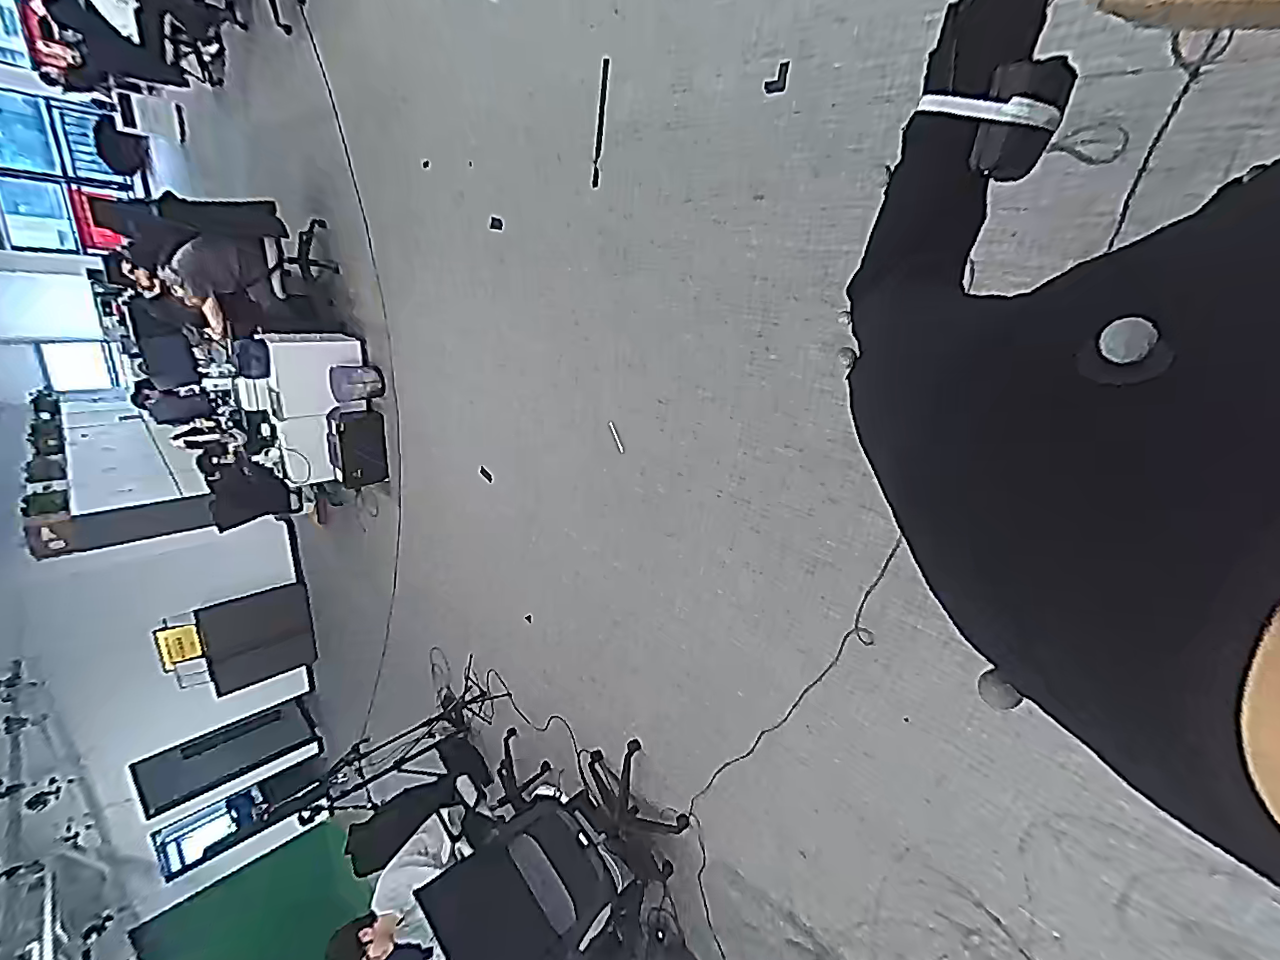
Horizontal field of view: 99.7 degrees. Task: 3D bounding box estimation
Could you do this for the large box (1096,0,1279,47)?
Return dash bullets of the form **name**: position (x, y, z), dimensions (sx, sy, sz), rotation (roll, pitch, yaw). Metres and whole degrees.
- **large box**: position (0.515, -0.392, 0.228), dimensions (0.408, 0.320, 0.320), rotation (26, 135, 30)
